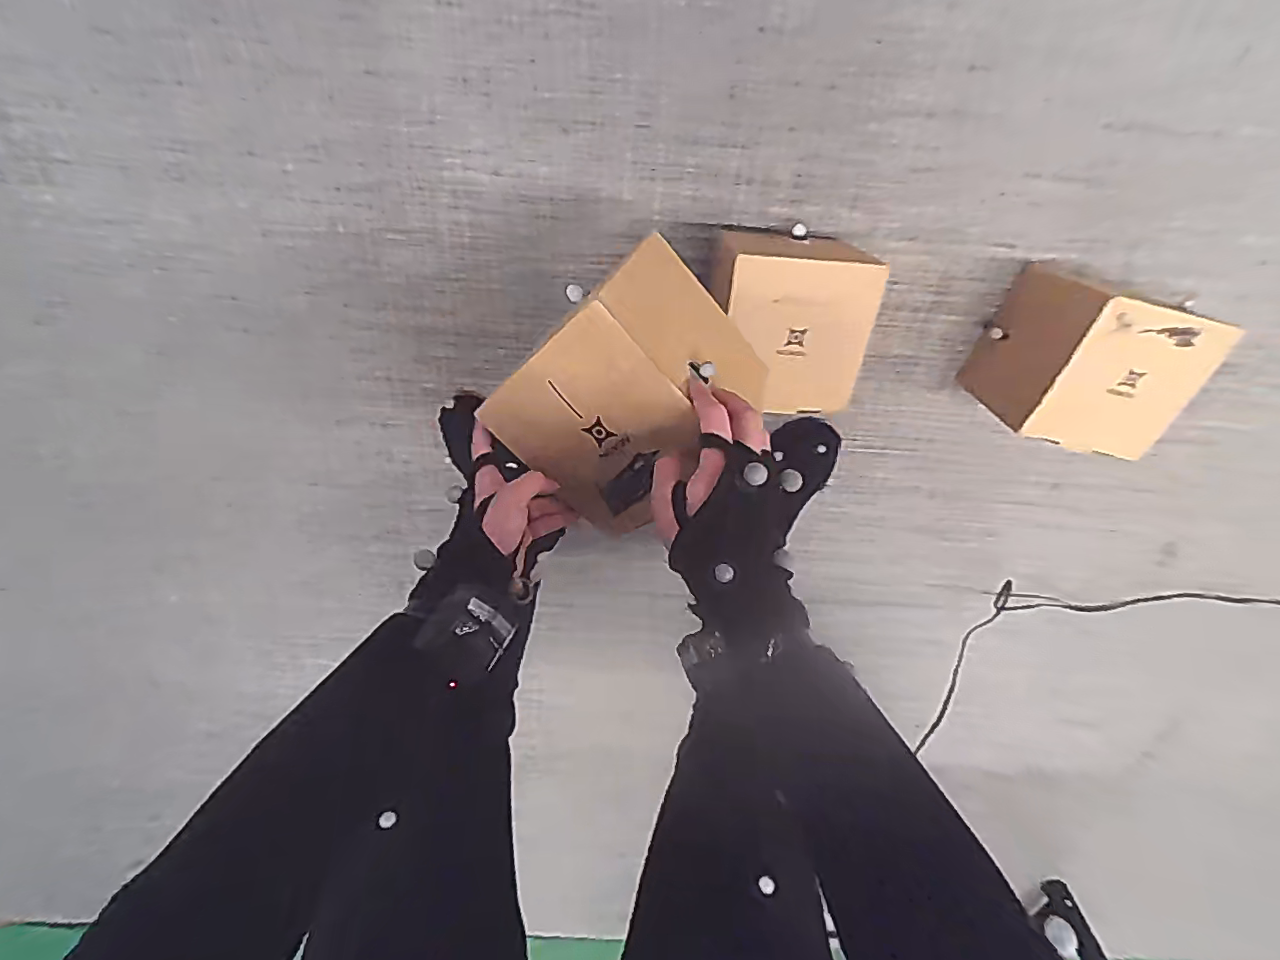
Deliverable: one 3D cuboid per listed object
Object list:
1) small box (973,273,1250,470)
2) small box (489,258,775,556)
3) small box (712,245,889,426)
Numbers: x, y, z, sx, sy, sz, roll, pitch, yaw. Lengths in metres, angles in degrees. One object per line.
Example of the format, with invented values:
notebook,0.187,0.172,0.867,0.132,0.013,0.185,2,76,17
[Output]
small box,0.566,-0.142,0.688,0.168,0.176,0.179,12,122,-5
small box,0.005,-0.067,0.496,0.179,0.176,0.168,44,129,-16
small box,0.178,-0.184,0.675,0.168,0.176,0.179,3,121,-1
